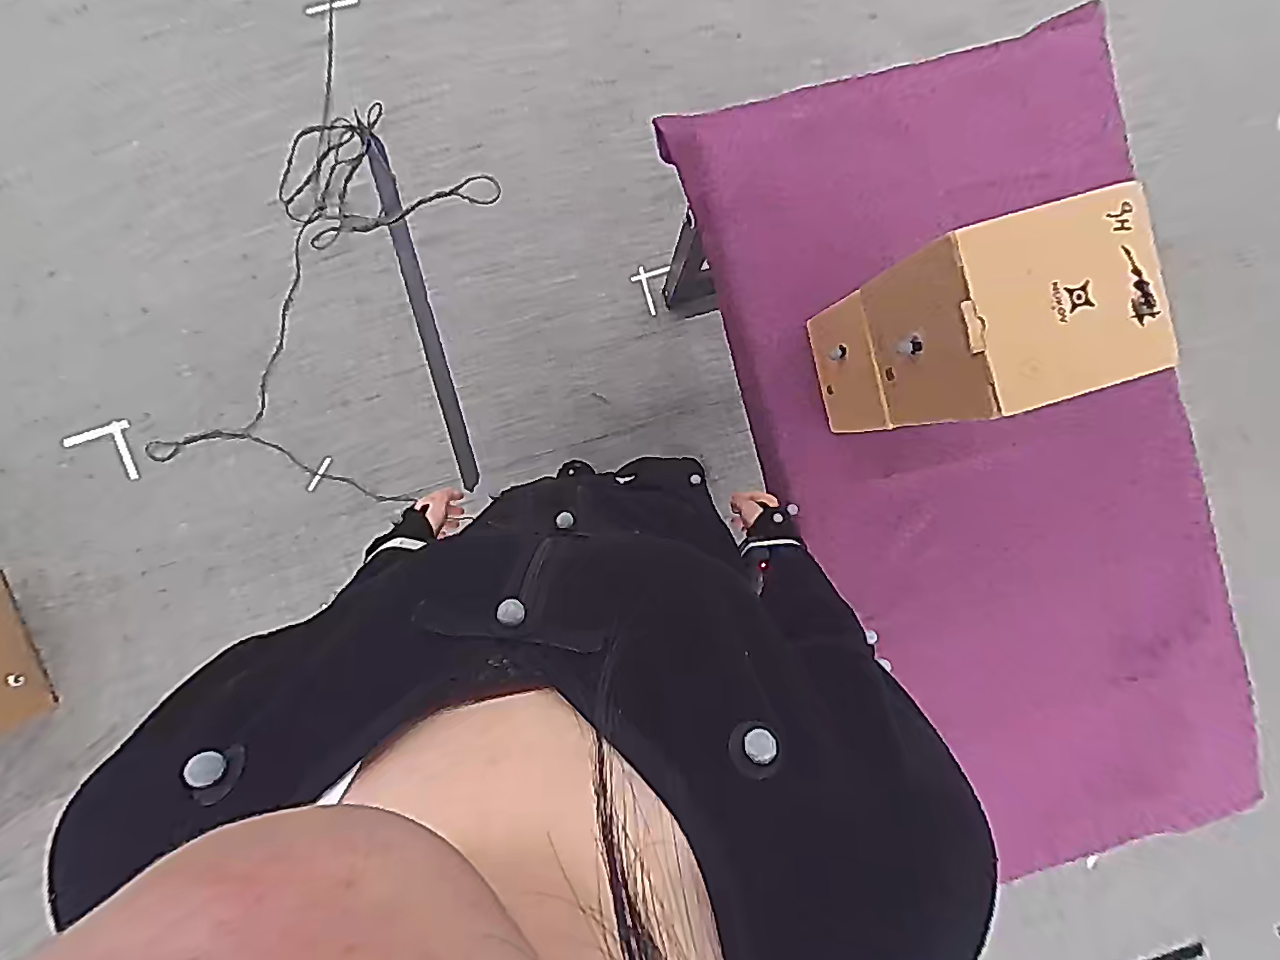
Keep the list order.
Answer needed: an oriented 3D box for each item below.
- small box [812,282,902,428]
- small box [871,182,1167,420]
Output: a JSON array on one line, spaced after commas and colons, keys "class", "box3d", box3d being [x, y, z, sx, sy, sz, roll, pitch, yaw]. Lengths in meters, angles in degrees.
[{"class": "small box", "box3d": [0.344, -0.168, 0.714, 0.179, 0.176, 0.168, -15, 94, -4]}, {"class": "small box", "box3d": [0.359, -0.163, 0.551, 0.179, 0.176, 0.168, -16, 94, -3]}]
